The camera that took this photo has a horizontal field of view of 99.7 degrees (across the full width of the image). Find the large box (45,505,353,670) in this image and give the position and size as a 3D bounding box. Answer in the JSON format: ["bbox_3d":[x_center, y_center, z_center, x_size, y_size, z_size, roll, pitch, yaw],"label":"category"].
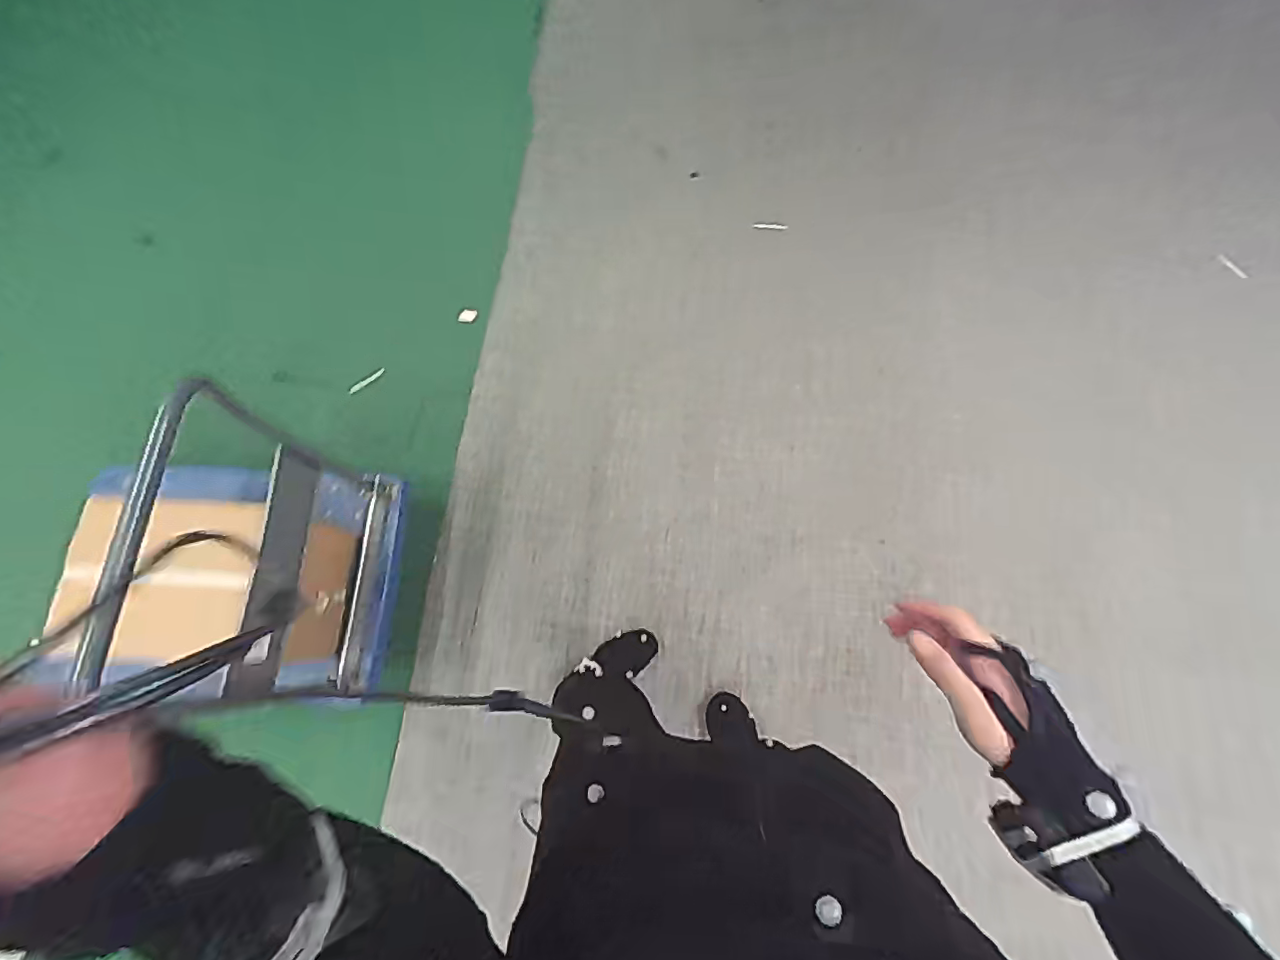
[{"bbox_3d":[-0.936,0.241,1.210,0.408,0.320,0.320,2,74,4],"label":"large box"}]
